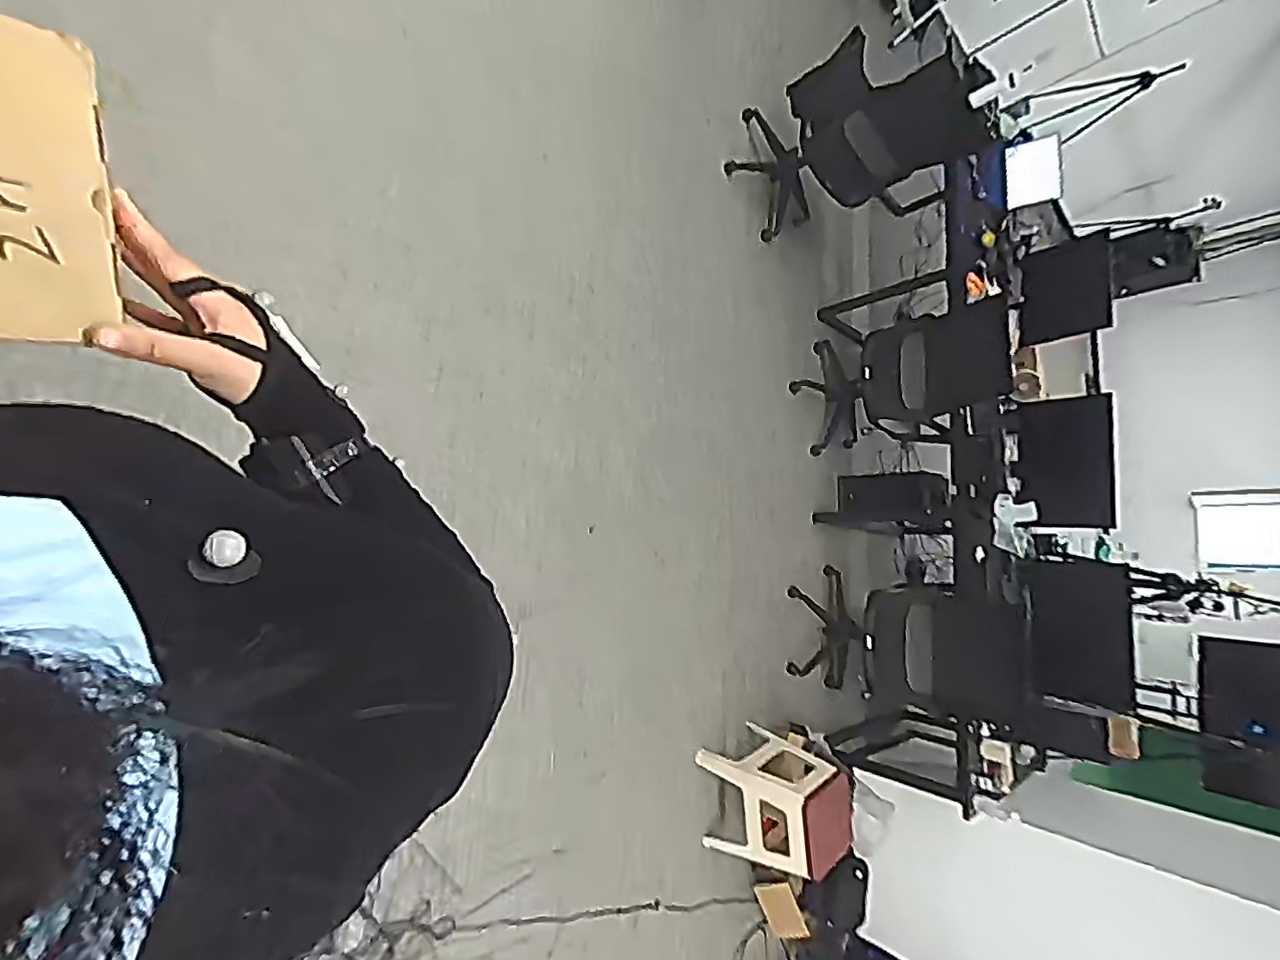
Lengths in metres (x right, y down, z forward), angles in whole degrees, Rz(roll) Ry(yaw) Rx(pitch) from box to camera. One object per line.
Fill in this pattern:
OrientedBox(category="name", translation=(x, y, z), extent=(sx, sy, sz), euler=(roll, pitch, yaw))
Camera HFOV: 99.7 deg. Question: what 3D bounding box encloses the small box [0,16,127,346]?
OrientedBox(category="small box", translation=(-0.426, -0.170, 0.315), extent=(0.179, 0.176, 0.168), euler=(-7, 107, -44))
